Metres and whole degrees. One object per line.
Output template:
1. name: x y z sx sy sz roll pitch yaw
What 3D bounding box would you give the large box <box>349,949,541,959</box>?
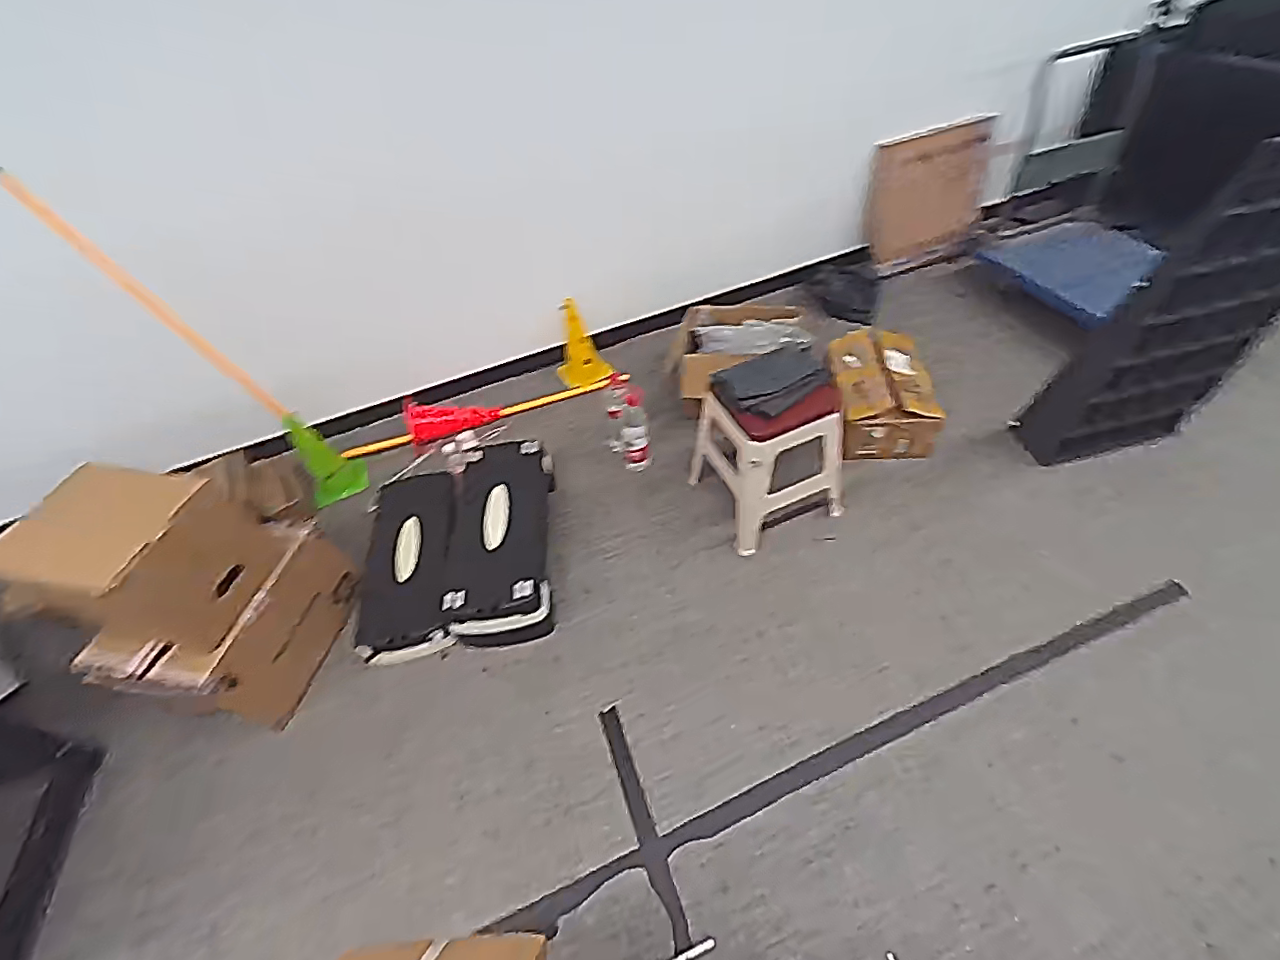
1. large box: -0.302 0.824 0.600 0.320 0.408 0.320 -7 77 5
